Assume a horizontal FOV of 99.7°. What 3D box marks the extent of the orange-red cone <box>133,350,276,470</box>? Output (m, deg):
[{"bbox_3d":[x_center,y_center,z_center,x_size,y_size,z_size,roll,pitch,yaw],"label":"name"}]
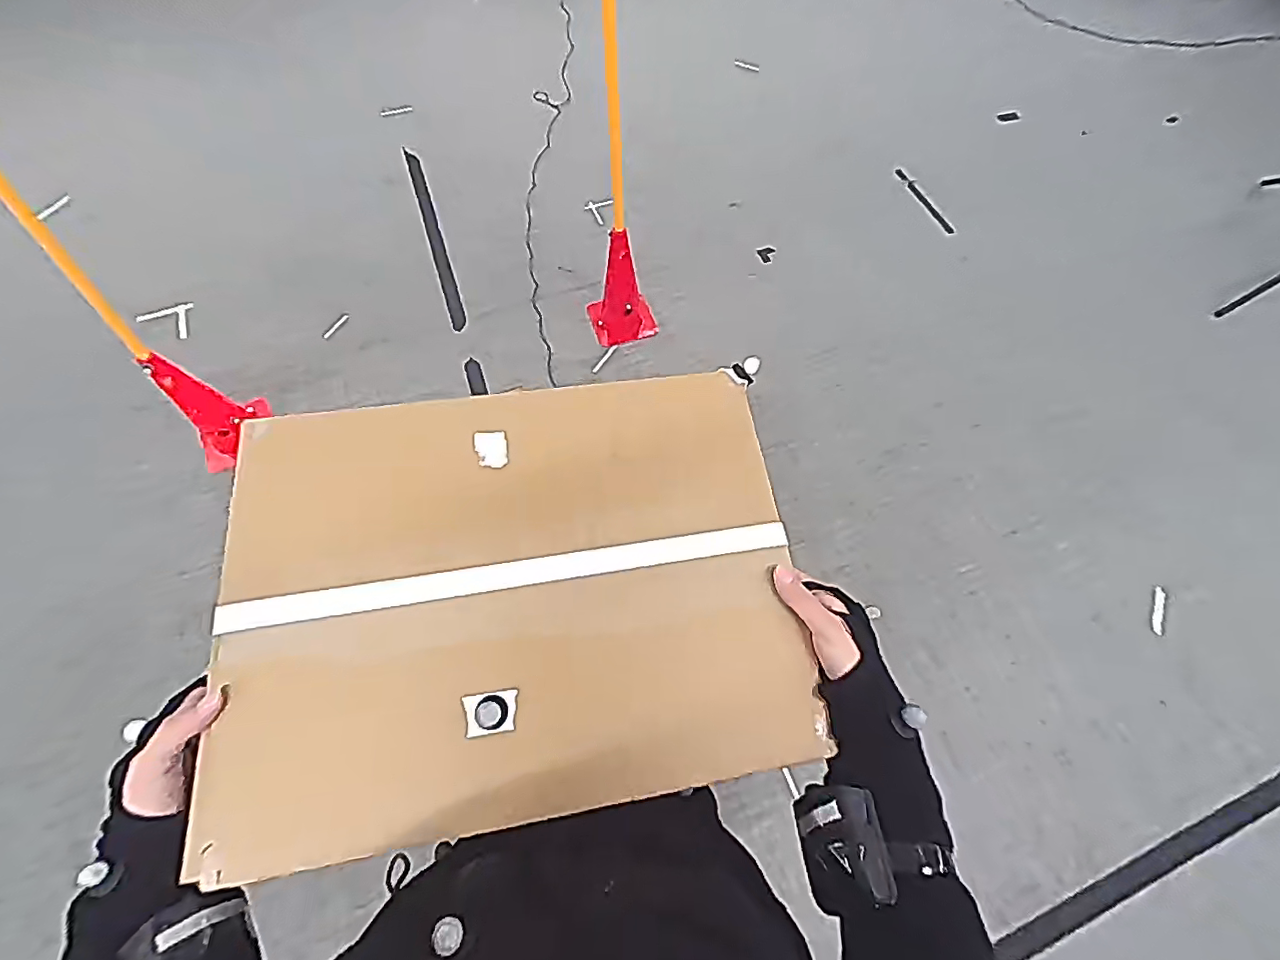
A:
[{"bbox_3d":[-1.179,-0.211,1.429,0.199,0.360,0.198,-27,66,-13],"label":"orange-red cone"}]
